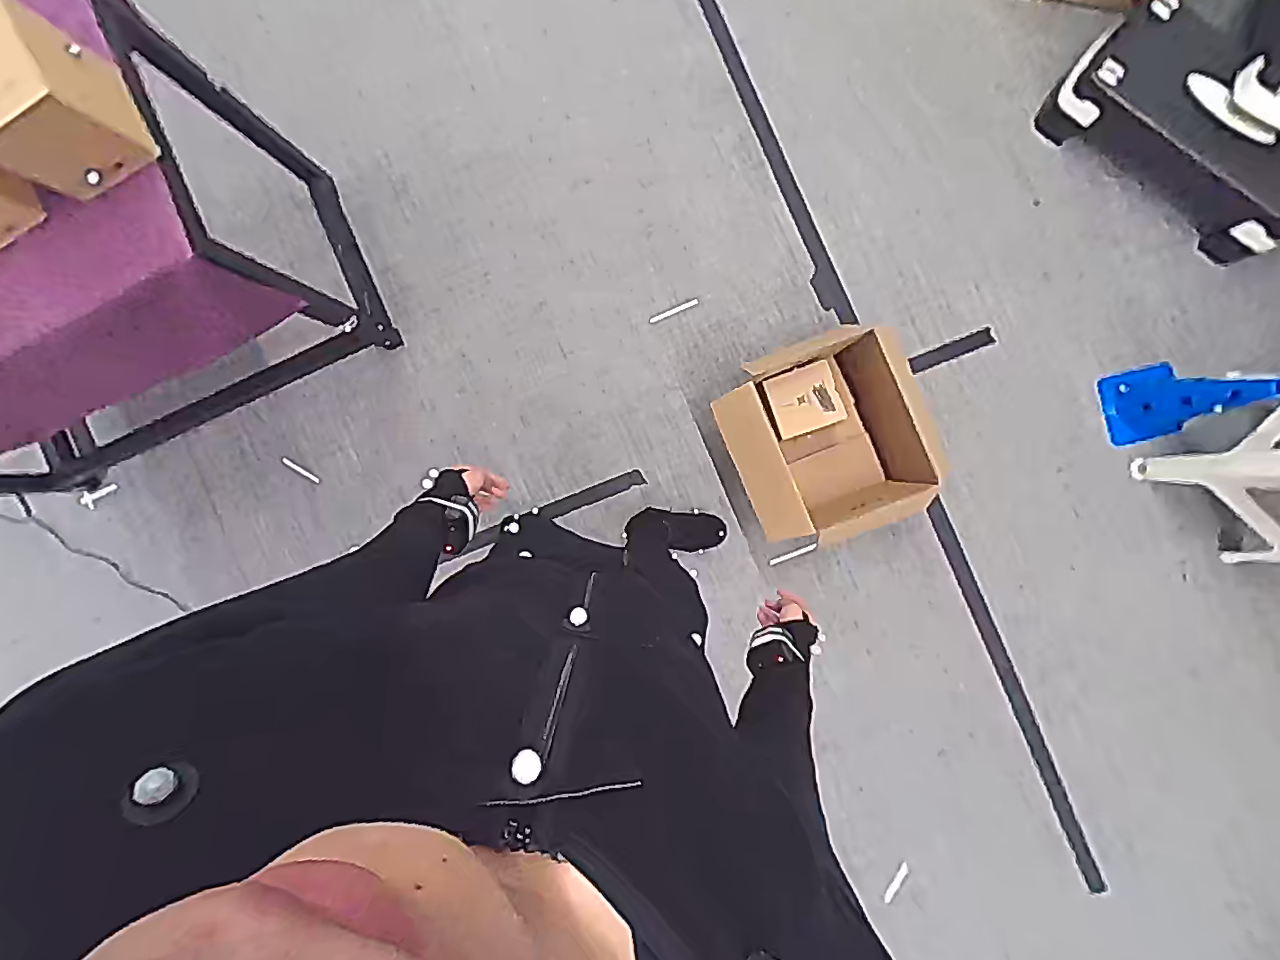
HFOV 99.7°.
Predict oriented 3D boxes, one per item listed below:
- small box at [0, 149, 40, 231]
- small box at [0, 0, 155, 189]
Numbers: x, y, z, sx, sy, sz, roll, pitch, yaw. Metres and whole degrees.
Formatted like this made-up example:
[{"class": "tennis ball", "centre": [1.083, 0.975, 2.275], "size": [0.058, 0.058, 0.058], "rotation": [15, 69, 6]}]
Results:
[{"class": "small box", "centre": [-1.164, -0.516, 0.881], "size": [0.168, 0.176, 0.179], "rotation": [-29, 89, 5]}, {"class": "small box", "centre": [-0.945, -0.612, 0.861], "size": [0.168, 0.176, 0.179], "rotation": [-27, 89, 7]}]
